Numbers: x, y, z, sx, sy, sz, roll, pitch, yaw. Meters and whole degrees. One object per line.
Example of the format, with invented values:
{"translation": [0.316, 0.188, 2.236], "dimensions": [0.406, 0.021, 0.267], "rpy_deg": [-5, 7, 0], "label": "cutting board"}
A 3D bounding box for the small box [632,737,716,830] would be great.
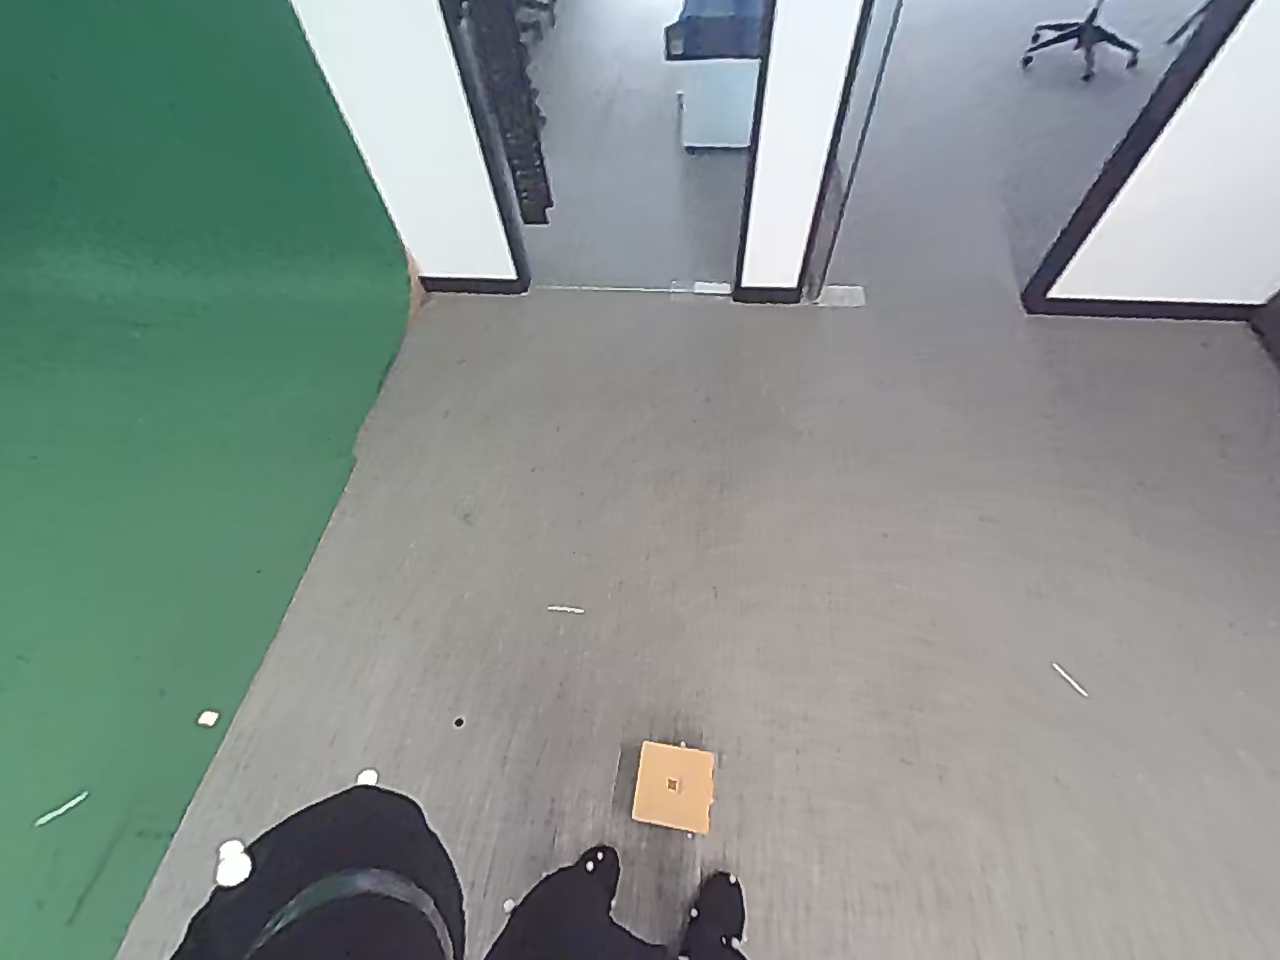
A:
{"translation": [0.084, 0.732, 1.302], "dimensions": [0.179, 0.176, 0.168], "rpy_deg": [7, 59, 7], "label": "small box"}
